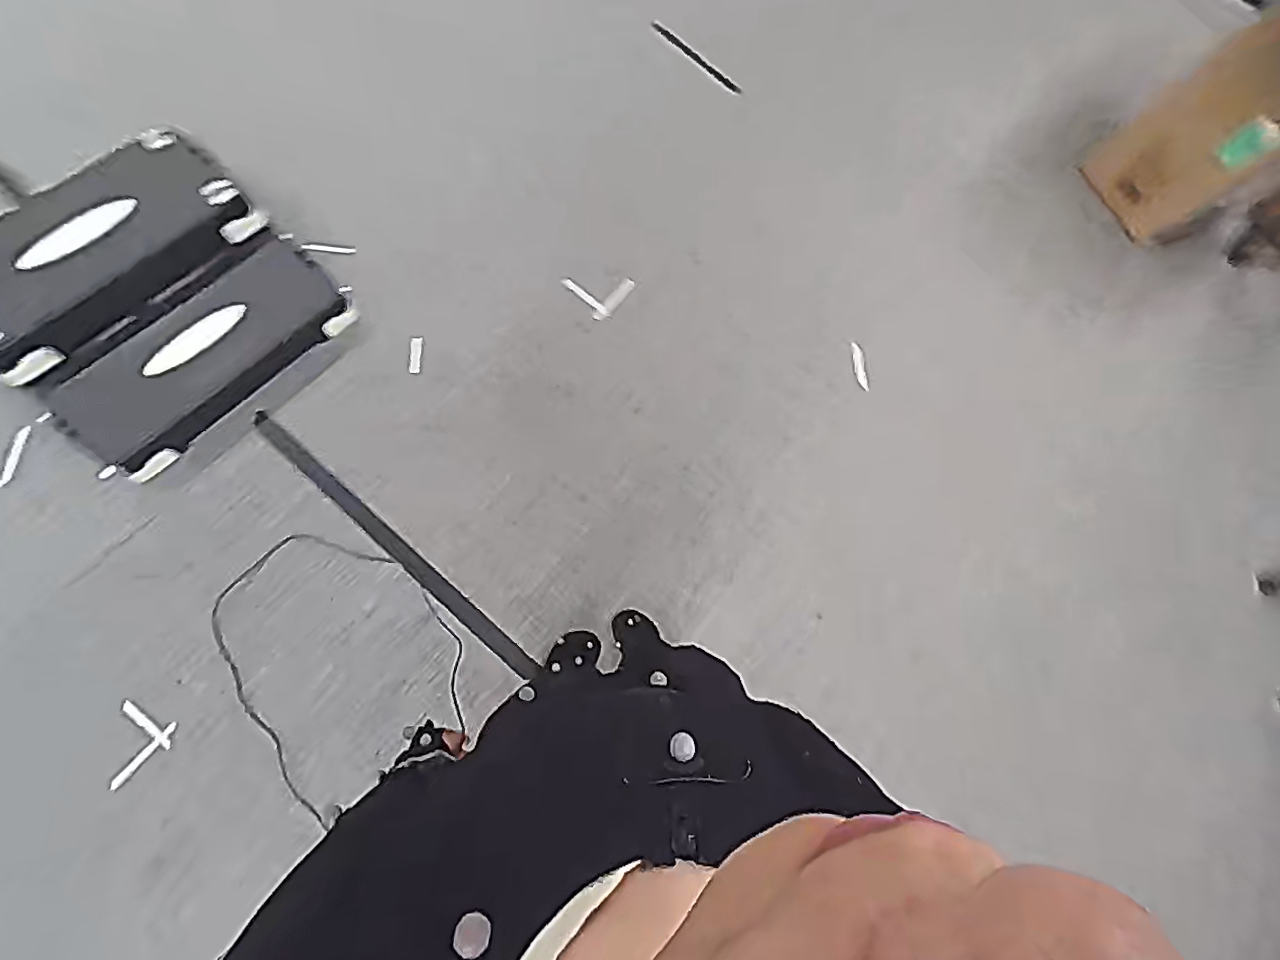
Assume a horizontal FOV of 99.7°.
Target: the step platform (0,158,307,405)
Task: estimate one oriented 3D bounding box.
[{"bbox_3d":[-1.226,-0.498,1.335,0.684,0.204,0.286,-42,85,-18],"label":"step platform"}]
